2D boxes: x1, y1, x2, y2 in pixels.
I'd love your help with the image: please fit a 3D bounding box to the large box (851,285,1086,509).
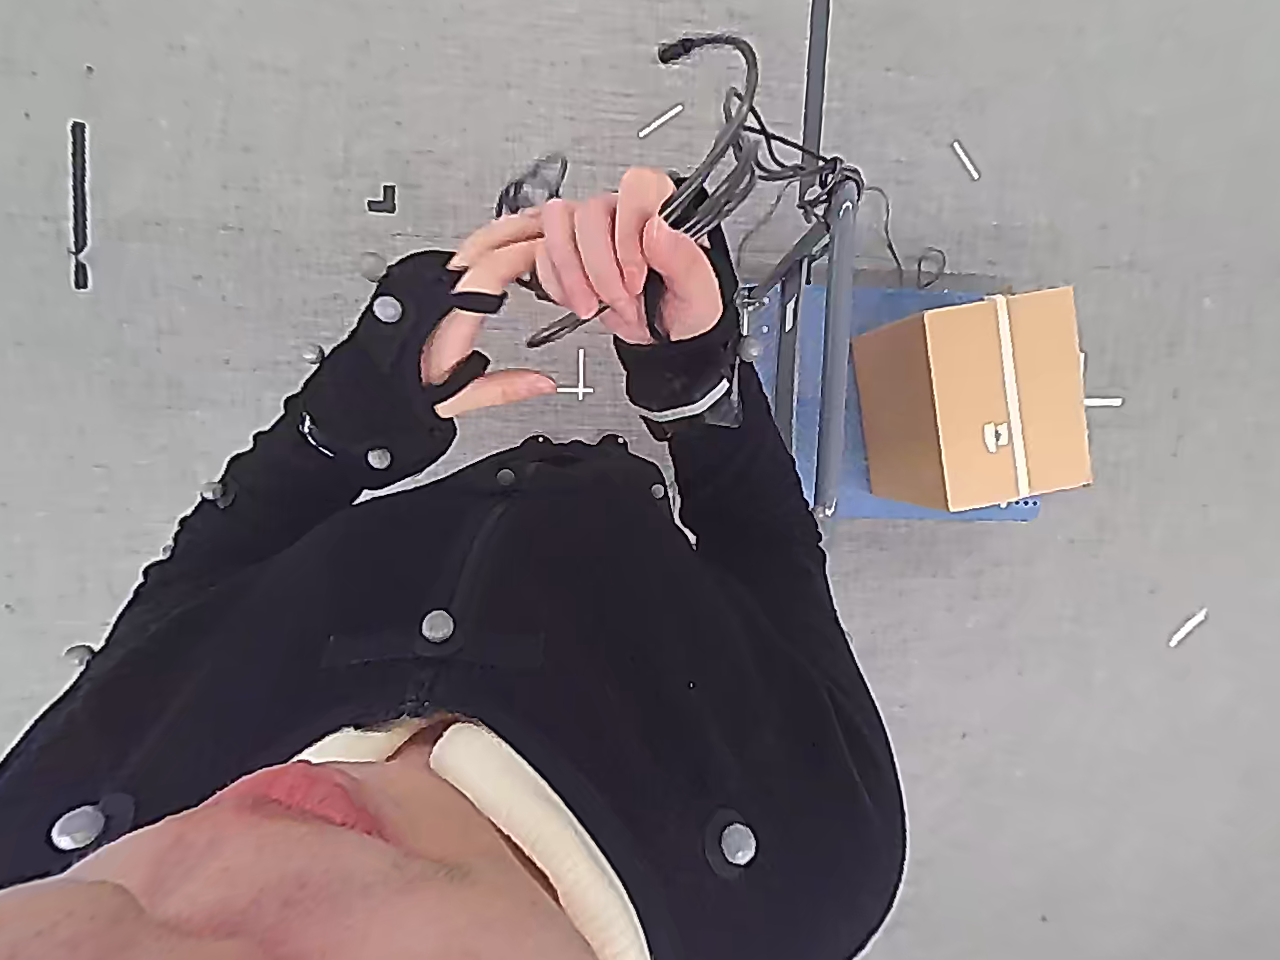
[{"bbox_3d":[0.715,-0.179,1.221,0.320,0.320,0.408,-11,97,-3],"label":"large box"}]
